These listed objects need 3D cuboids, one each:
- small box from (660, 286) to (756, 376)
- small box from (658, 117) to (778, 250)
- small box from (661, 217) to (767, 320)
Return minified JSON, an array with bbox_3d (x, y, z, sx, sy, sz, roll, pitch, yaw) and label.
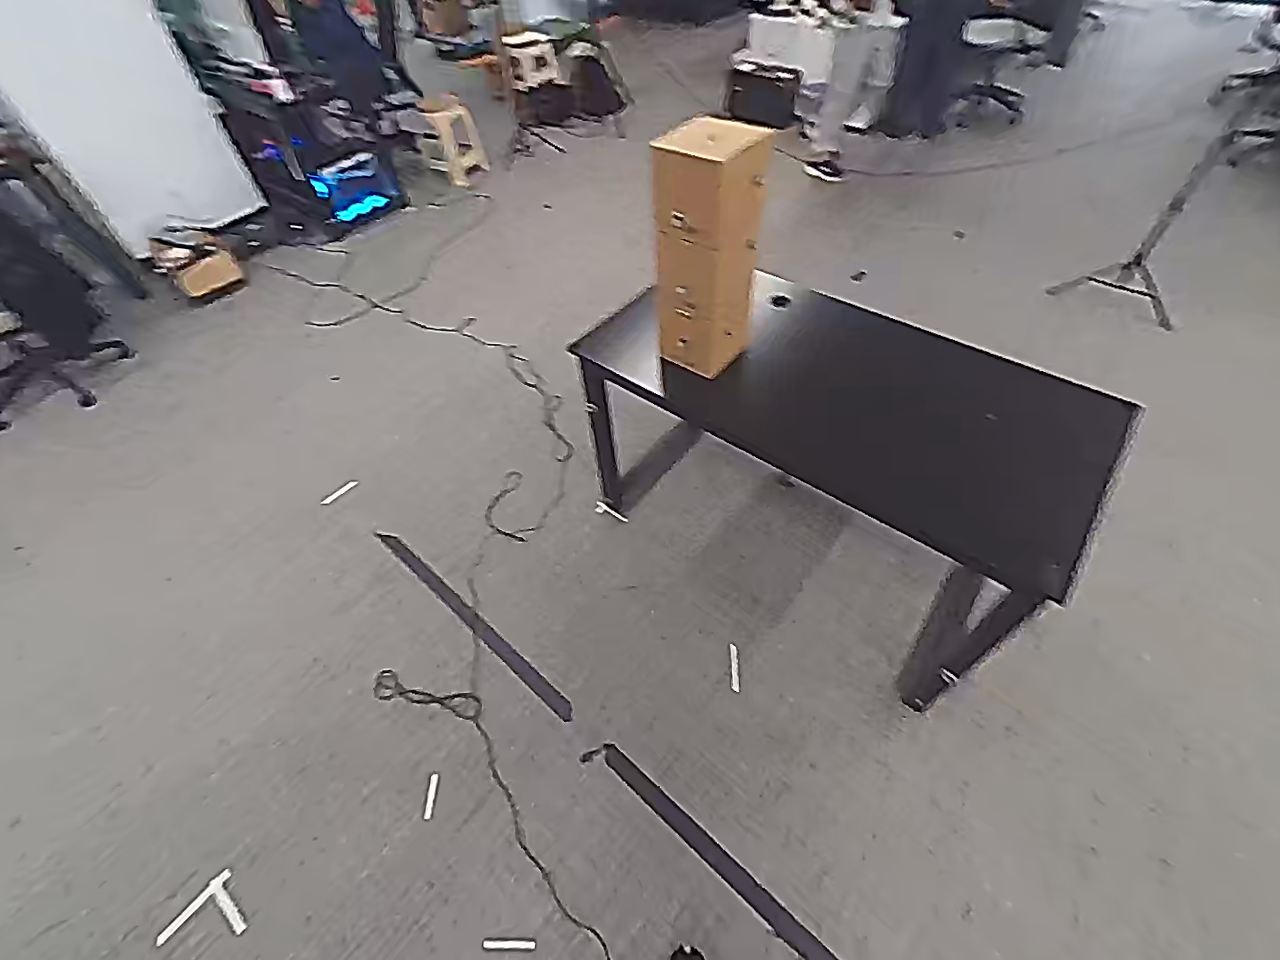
[{"bbox_3d":[0.169,-0.387,1.336,0.168,0.176,0.179,30,60,25],"label":"small box"},{"bbox_3d":[0.151,-0.592,1.081,0.168,0.176,0.179,30,59,26],"label":"small box"},{"bbox_3d":[0.160,-0.491,1.208,0.168,0.176,0.179,30,60,26],"label":"small box"}]
